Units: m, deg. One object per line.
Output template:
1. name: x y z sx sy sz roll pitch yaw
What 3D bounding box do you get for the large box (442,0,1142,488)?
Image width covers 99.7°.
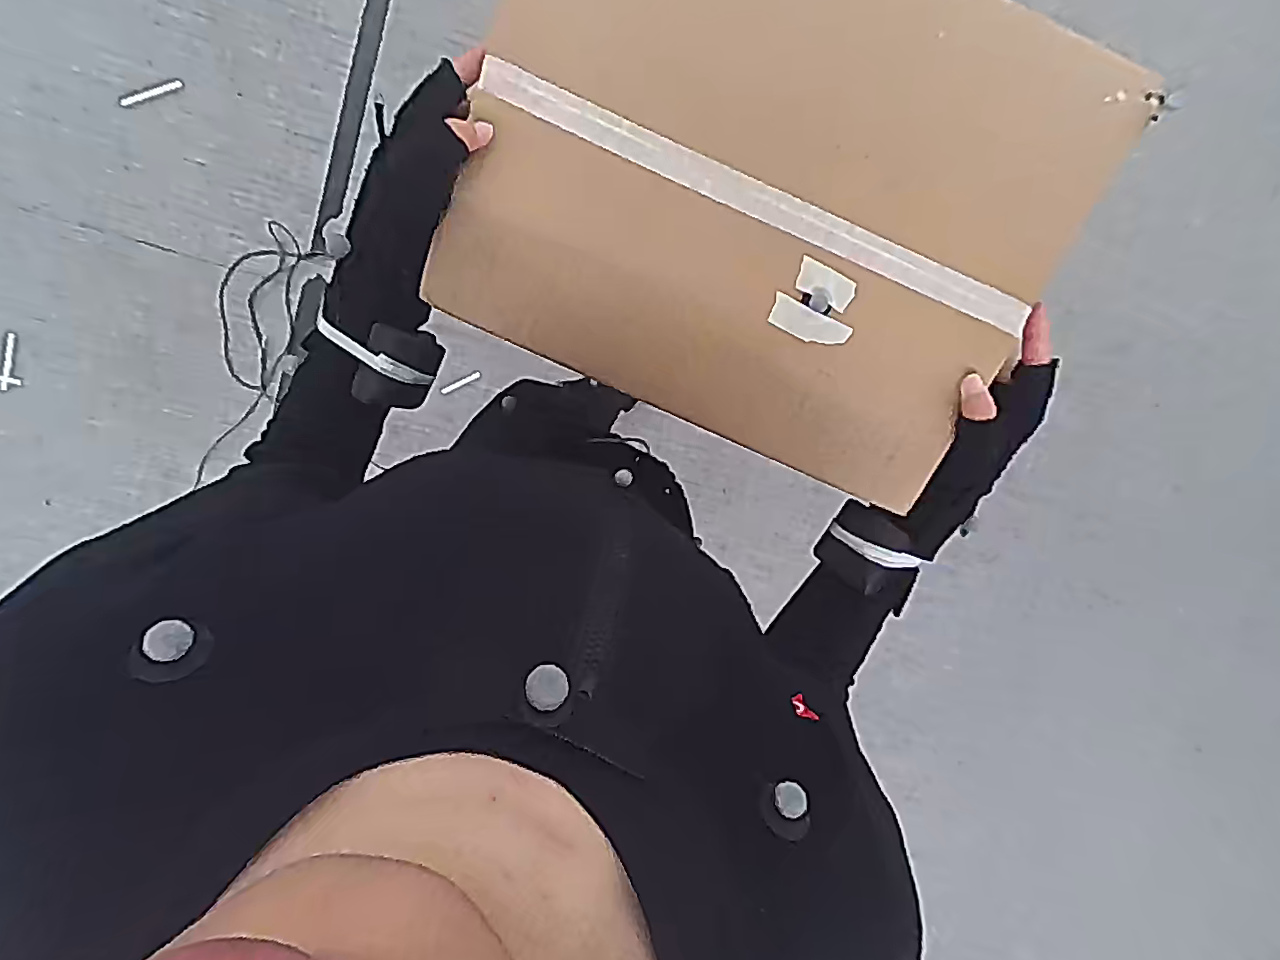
1. large box: 0.095 -0.241 0.523 0.408 0.320 0.320 24 107 -3
